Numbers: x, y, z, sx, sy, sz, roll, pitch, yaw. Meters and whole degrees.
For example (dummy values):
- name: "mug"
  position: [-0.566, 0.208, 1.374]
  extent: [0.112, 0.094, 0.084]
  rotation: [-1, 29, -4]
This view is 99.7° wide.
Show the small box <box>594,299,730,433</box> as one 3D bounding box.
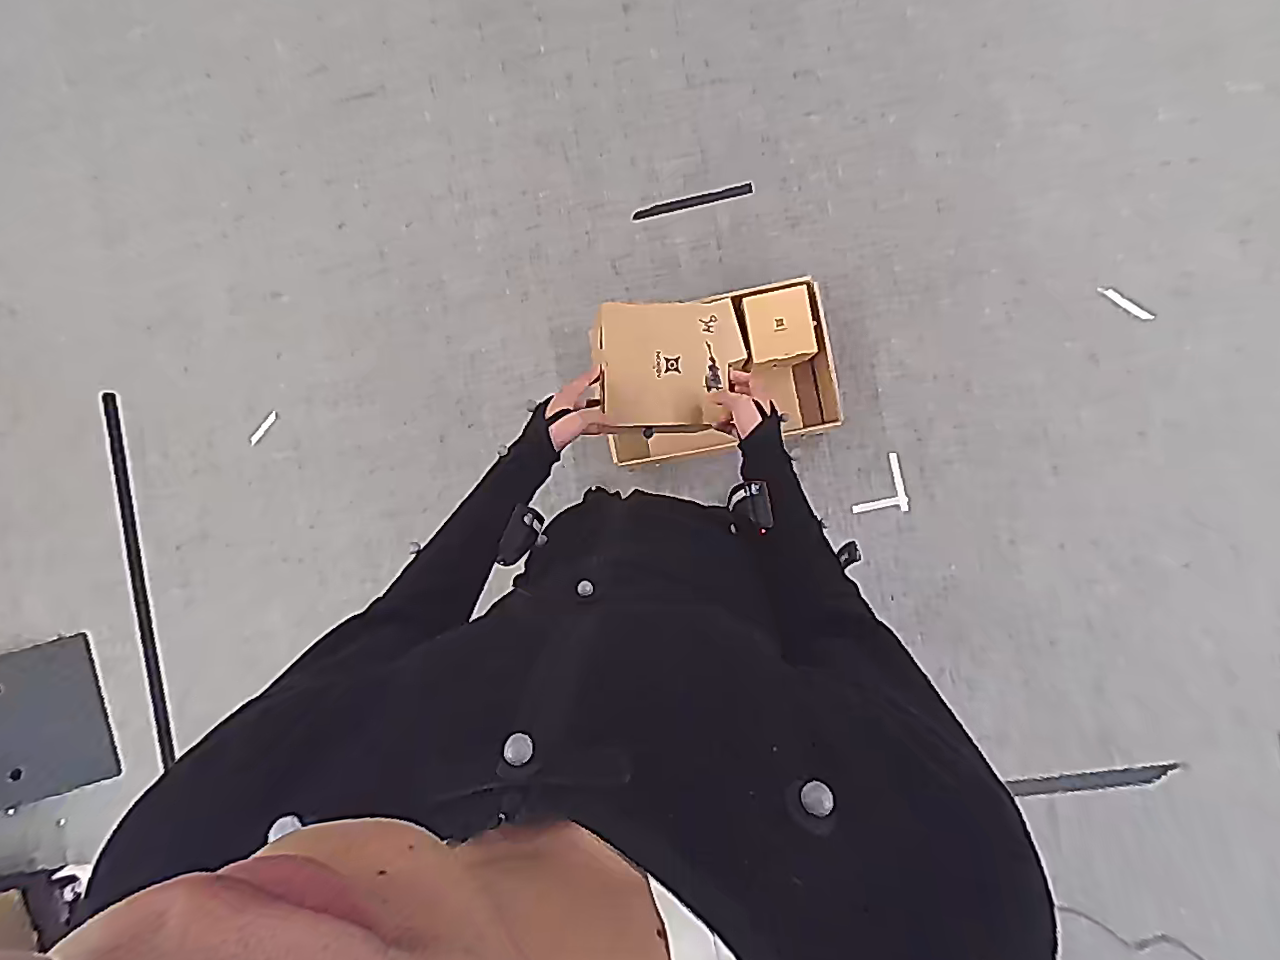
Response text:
- name: "small box"
  position: [0.023, -0.157, 0.793]
  extent: [0.179, 0.176, 0.168]
  rotation: [-2, 92, -8]
